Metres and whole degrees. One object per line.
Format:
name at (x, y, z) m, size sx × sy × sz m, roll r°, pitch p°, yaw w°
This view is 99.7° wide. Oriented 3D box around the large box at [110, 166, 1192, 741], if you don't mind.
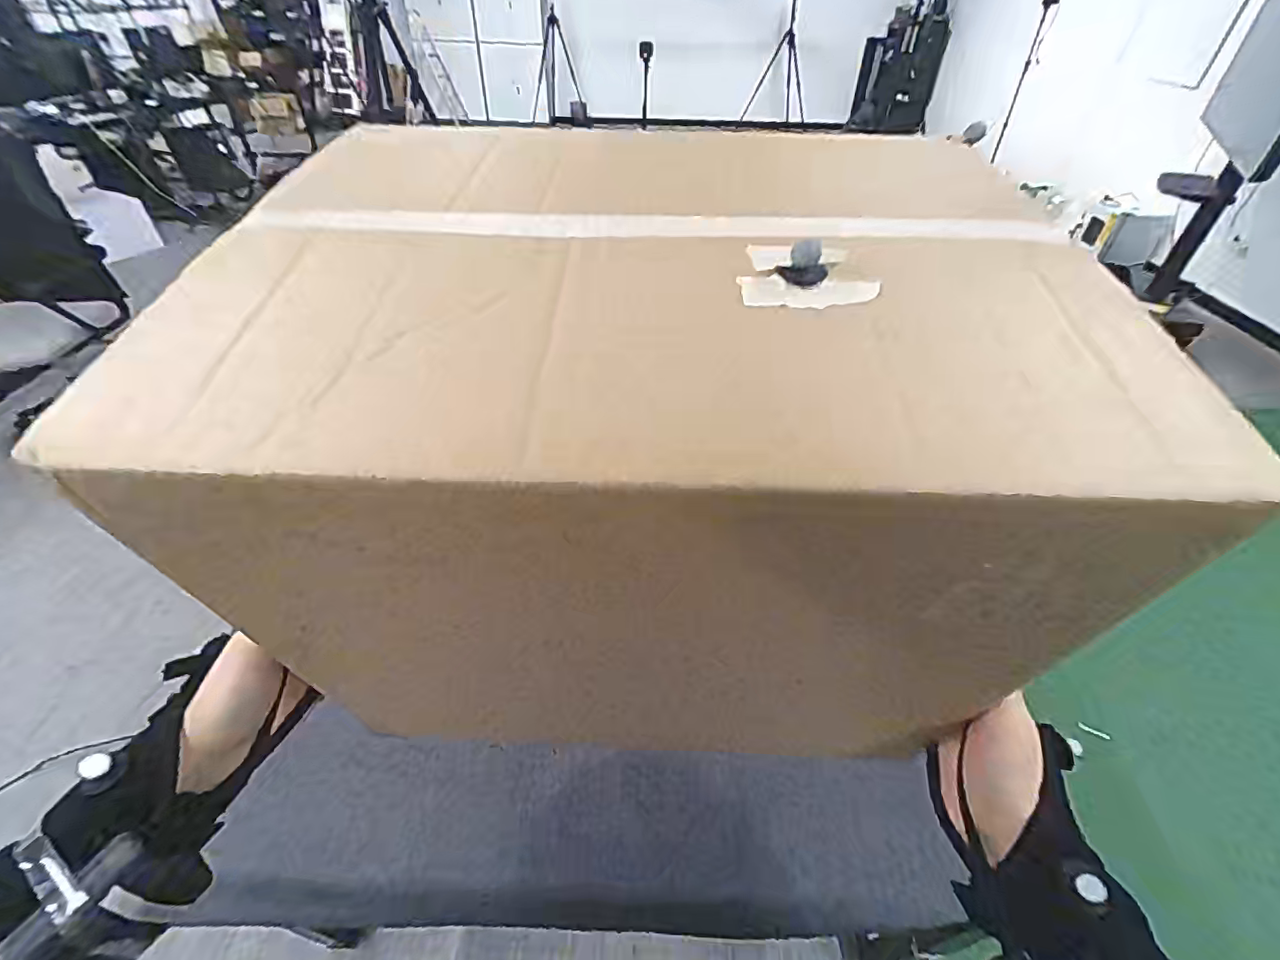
large box at (0.004, -0.011, 0.404) m, size 0.408 × 0.320 × 0.320 m, roll 1°, pitch 50°, yaw 1°
